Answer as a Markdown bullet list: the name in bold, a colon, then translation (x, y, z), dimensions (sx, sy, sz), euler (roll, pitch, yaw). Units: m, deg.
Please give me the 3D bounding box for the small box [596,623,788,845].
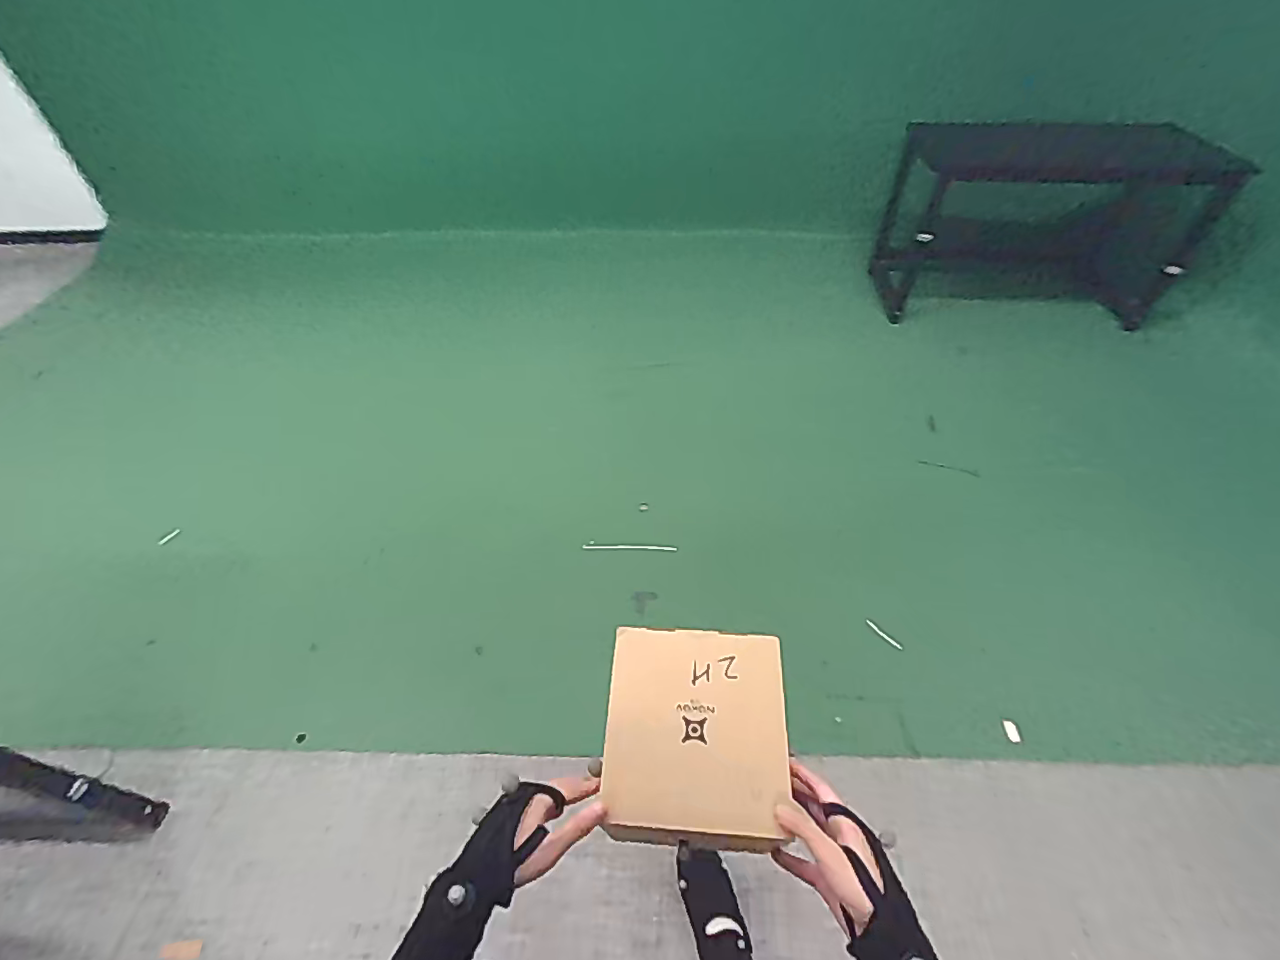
- **small box**: translation (0.054, 0.268, 0.565), dimensions (0.168, 0.176, 0.179), euler (1, 52, 4)
